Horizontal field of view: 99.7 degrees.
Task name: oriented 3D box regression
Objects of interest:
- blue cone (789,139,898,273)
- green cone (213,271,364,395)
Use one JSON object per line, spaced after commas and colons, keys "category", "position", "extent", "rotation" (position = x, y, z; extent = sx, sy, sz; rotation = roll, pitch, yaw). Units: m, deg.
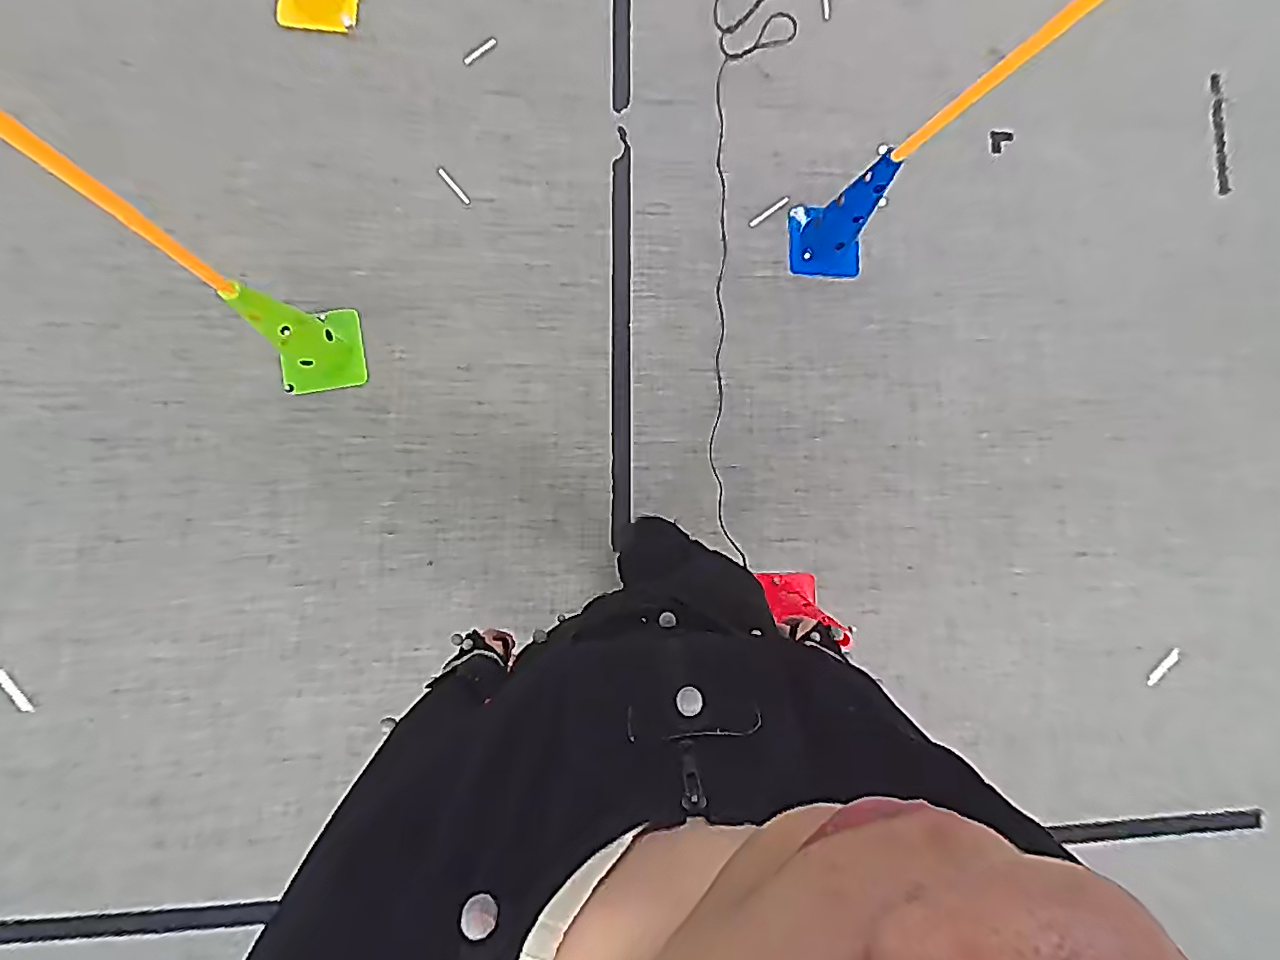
{"category": "blue cone", "position": [0.525, -0.689, 1.347], "extent": [0.193, 0.380, 0.192], "rotation": [3, 84, -5]}
{"category": "green cone", "position": [-0.785, -0.342, 1.181], "extent": [0.200, 0.368, 0.202], "rotation": [-11, 84, -6]}
